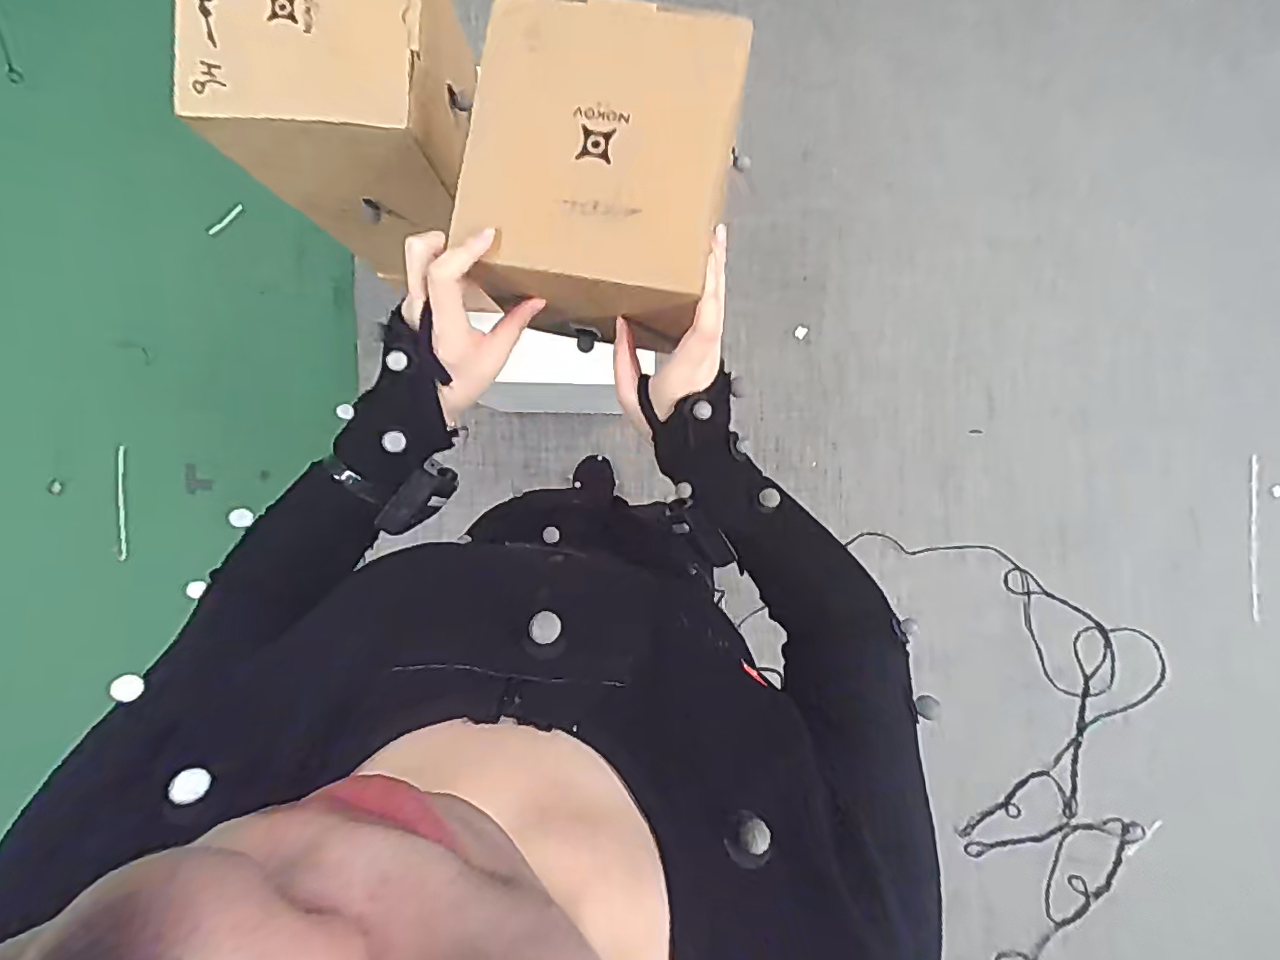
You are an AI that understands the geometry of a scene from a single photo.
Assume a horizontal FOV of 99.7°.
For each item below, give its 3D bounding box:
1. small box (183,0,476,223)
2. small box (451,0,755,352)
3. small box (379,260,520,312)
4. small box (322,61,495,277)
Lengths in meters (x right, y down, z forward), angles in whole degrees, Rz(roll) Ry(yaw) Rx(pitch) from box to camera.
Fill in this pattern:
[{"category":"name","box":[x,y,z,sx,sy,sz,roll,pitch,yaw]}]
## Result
[{"category":"small box","box":[-0.254,-0.349,0.484,0.179,0.176,0.168,3,92,-3]},{"category":"small box","box":[-0.019,-0.216,0.417,0.168,0.176,0.179,11,90,5]},{"category":"small box","box":[-0.272,-0.365,0.811,0.168,0.176,0.179,1,93,-2]},{"category":"small box","box":[-0.263,-0.364,0.647,0.168,0.176,0.179,2,92,-2]}]
